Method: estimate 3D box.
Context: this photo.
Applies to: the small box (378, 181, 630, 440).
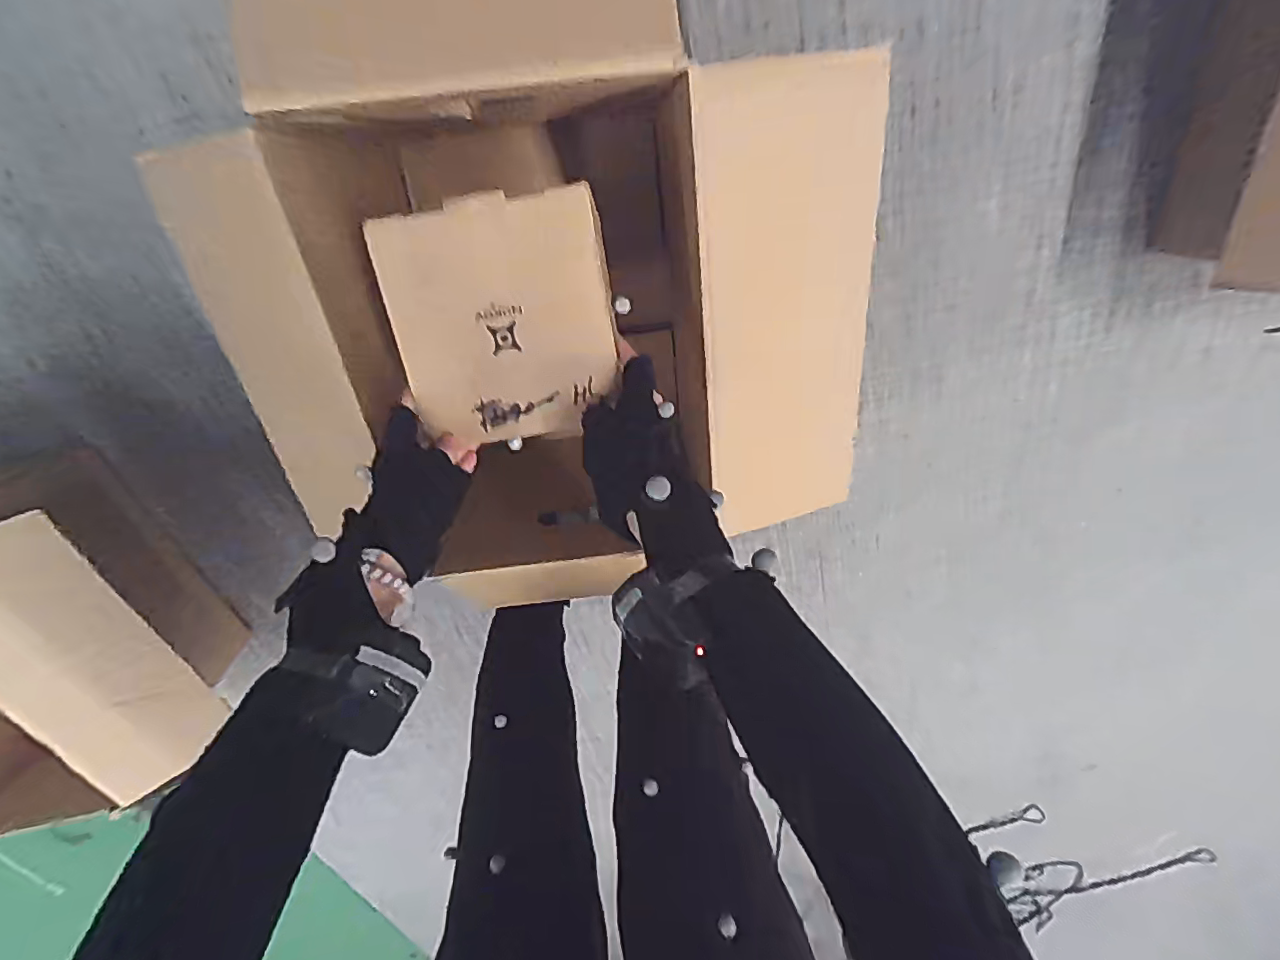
[{"bbox_3d":[-0.102,-0.147,0.490,0.168,0.176,0.179,-8,108,1],"label":"small box"}]
